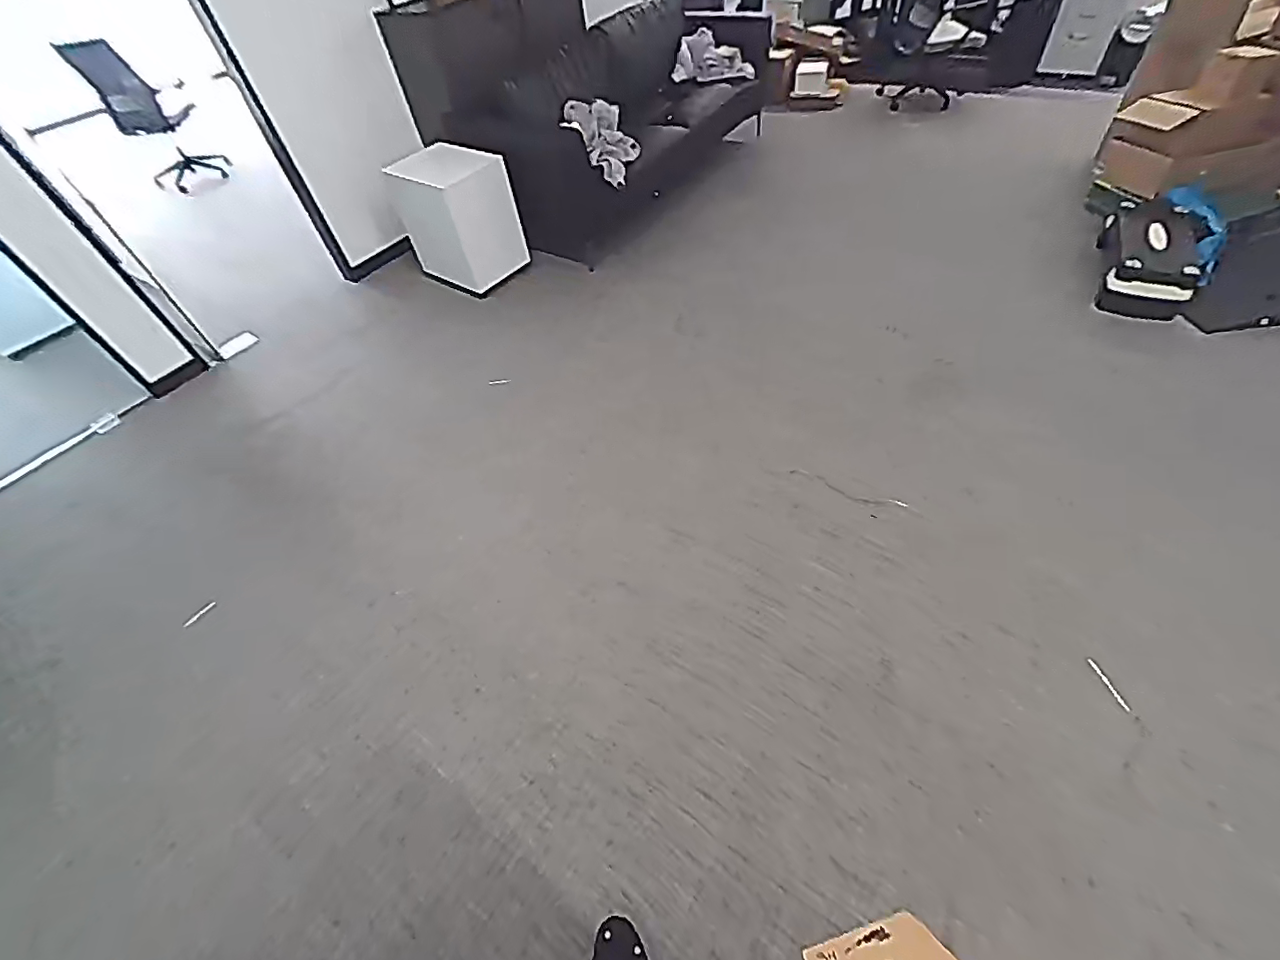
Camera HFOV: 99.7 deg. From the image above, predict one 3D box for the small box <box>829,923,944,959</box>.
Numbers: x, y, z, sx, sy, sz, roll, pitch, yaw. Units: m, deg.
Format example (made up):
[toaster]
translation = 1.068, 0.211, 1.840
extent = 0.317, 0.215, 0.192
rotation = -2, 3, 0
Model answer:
[small box]
translation = 0.326, 0.694, 0.637
extent = 0.168, 0.179, 0.176
rotation = -15, 82, -12
